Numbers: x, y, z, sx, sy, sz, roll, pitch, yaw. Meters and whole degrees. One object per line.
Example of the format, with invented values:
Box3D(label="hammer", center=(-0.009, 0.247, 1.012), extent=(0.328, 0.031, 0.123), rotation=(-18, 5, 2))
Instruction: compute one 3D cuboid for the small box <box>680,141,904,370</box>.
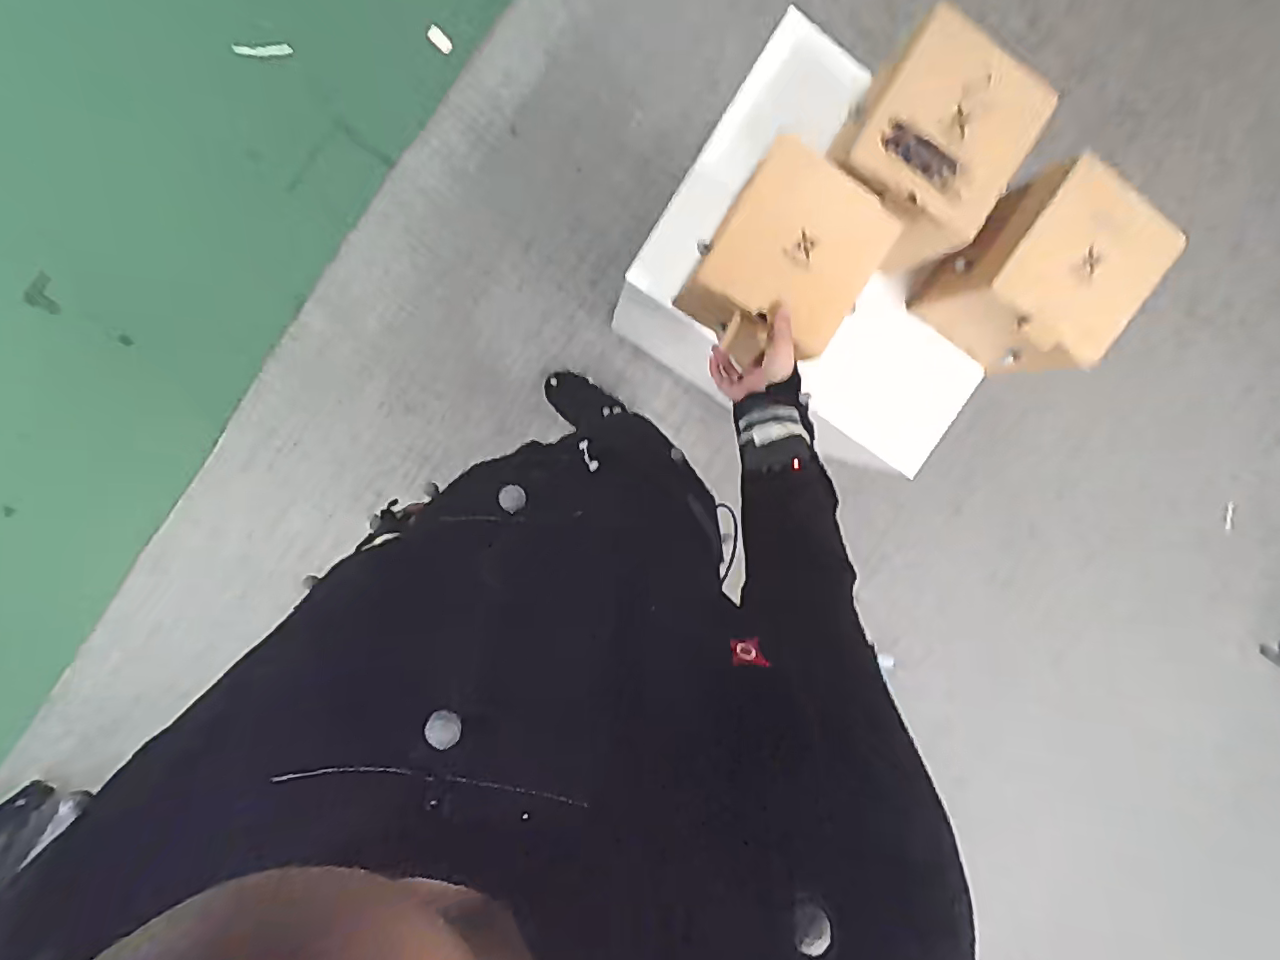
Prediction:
Box3D(label="small box", center=(0.165, -0.250, 0.654), extent=(0.168, 0.176, 0.179), rotation=(30, 94, -10))

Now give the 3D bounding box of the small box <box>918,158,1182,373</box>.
Box3D(label="small box", center=(0.493, -0.249, 0.684), extent=(0.168, 0.176, 0.179), rotation=(31, 94, -10))
